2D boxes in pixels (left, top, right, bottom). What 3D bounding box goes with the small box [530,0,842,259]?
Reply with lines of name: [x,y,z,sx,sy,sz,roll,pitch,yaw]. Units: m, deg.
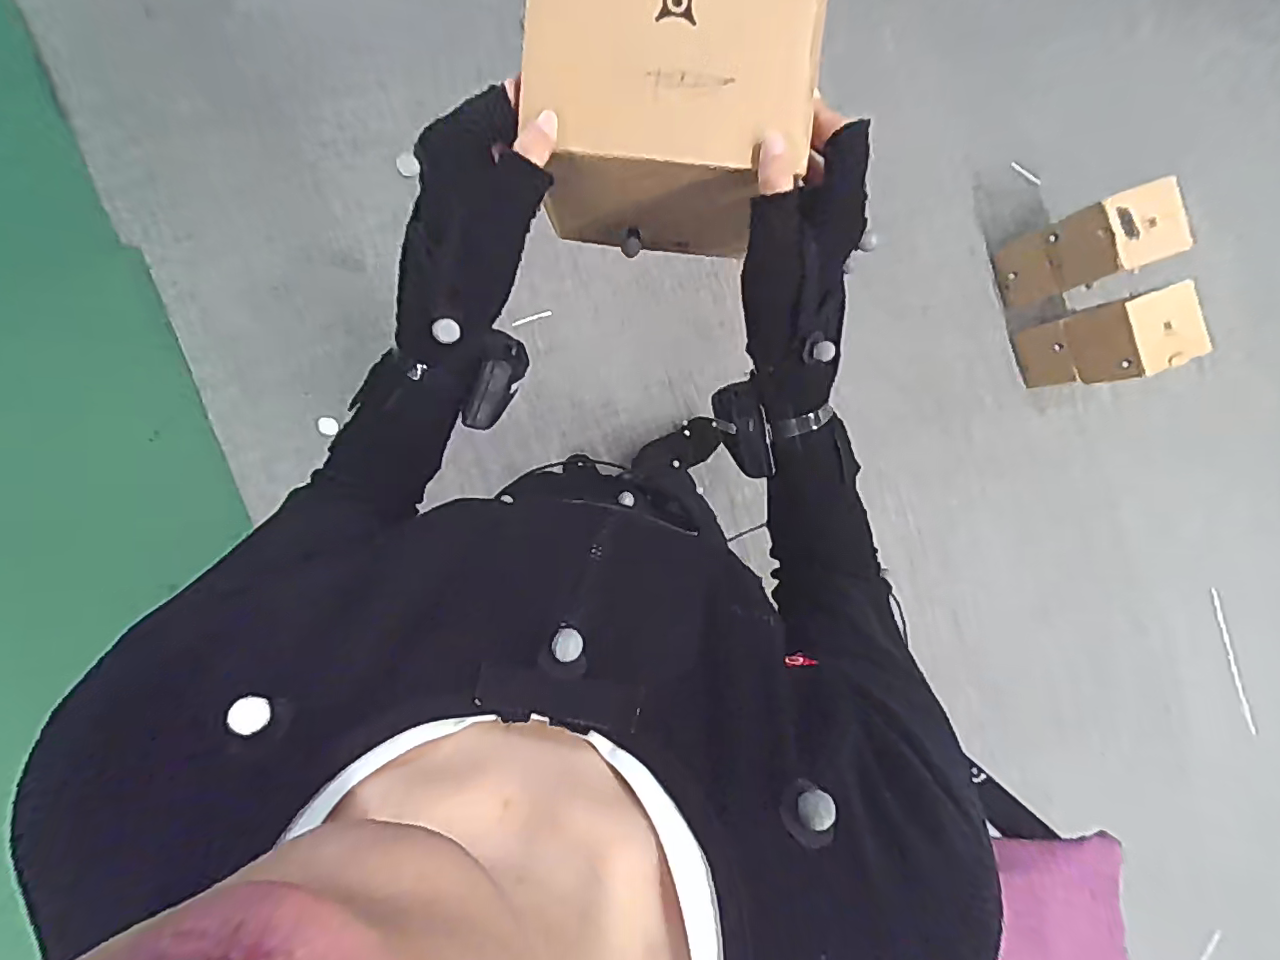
small box: [0.027,-0.273,0.372,0.168,0.176,0.179,6,97,-1]

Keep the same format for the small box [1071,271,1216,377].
small box: [1.167,-0.357,1.267,0.168,0.176,0.179,-22,96,-1]

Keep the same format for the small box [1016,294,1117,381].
small box: [1.152,-0.372,1.429,0.179,0.176,0.168,-21,94,-2]
